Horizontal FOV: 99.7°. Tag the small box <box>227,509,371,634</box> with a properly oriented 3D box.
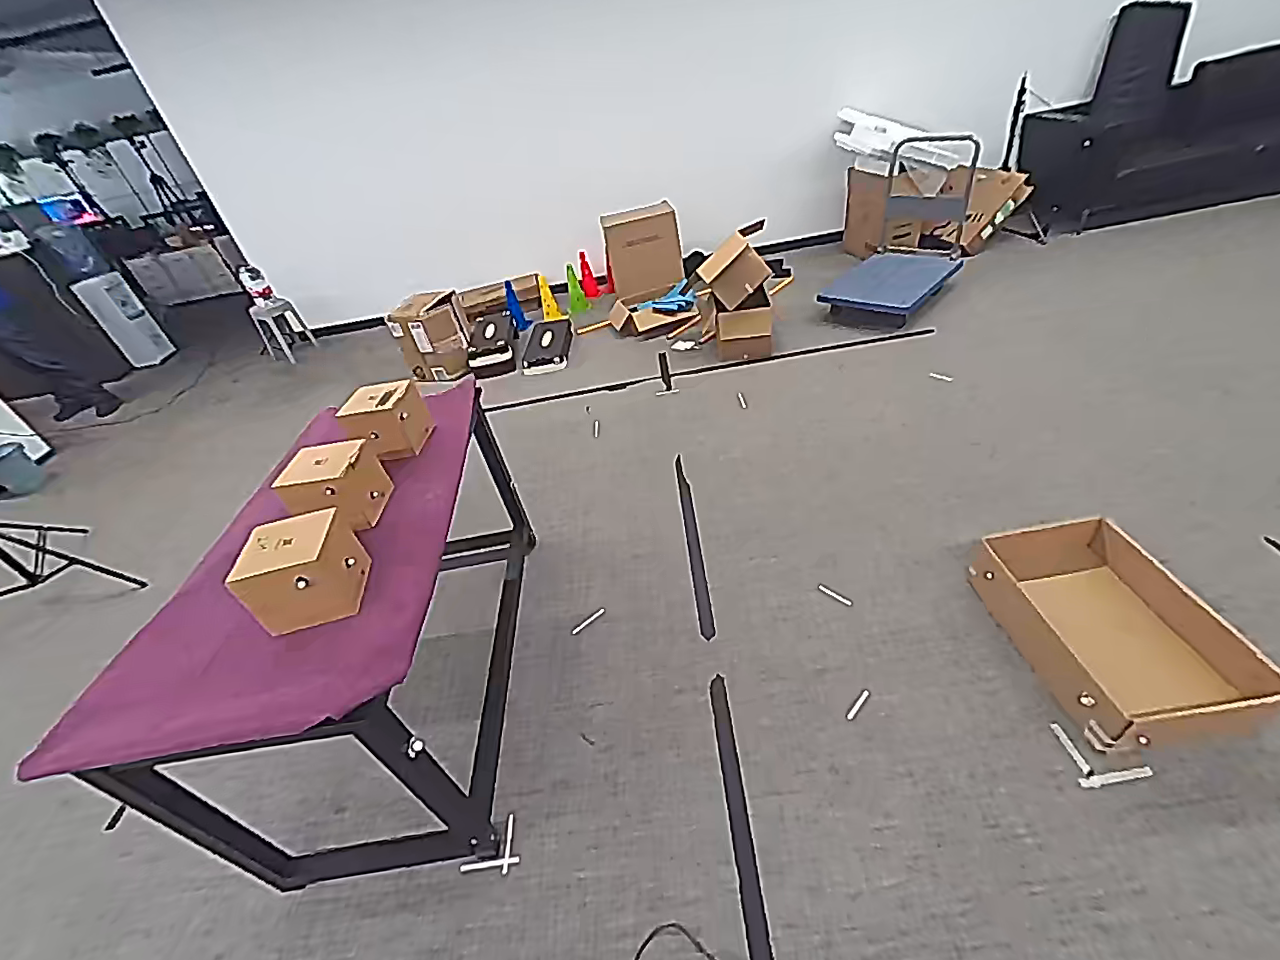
[{"bbox_3d":[-0.695,0.191,1.130,0.179,0.176,0.168,-15,37,-3],"label":"small box"}]

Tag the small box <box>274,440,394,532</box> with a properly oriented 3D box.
[{"bbox_3d":[-0.762,0.023,1.367,0.179,0.176,0.168,-8,38,4],"label":"small box"}]
